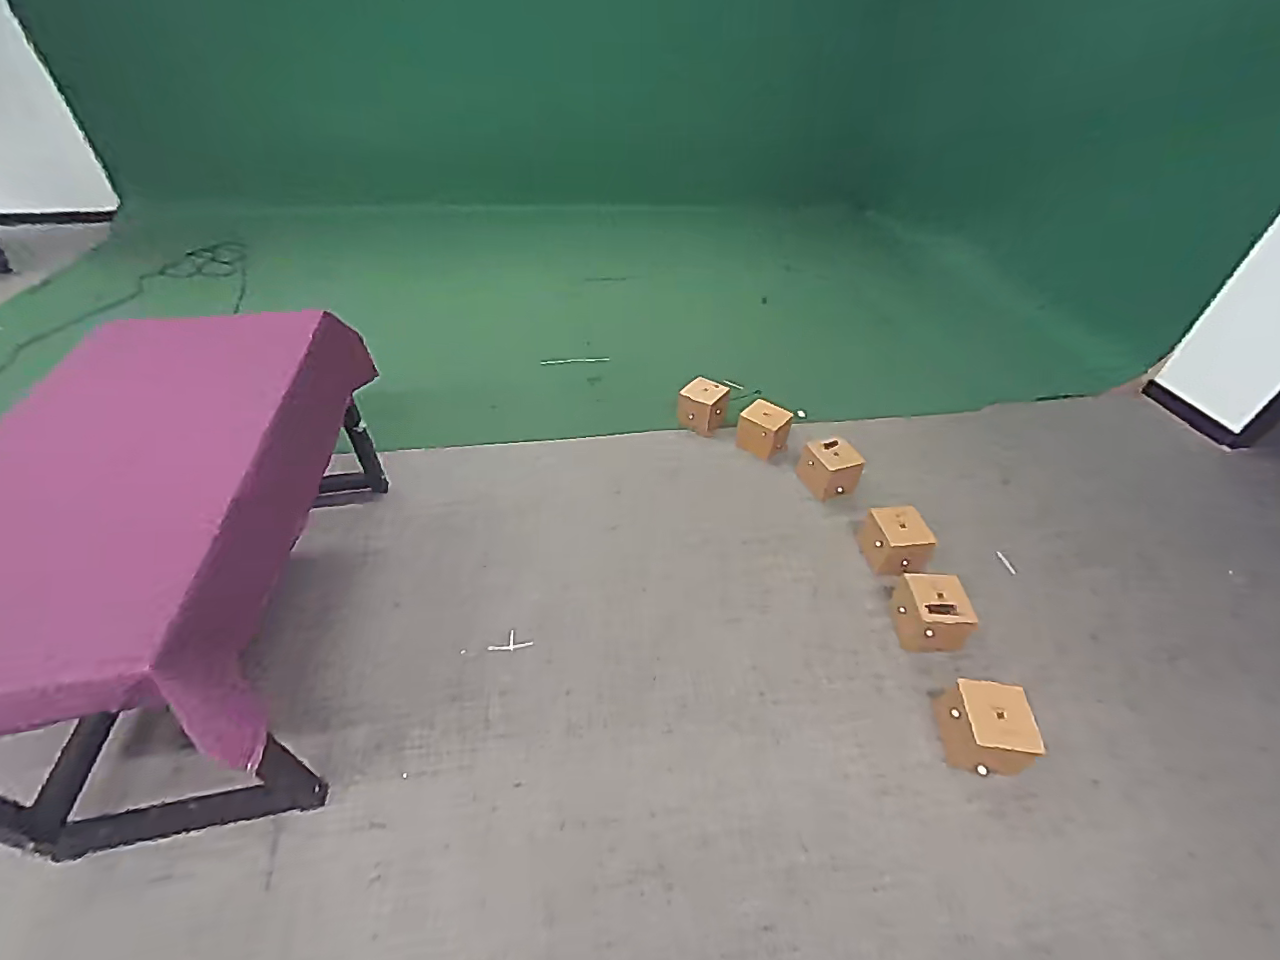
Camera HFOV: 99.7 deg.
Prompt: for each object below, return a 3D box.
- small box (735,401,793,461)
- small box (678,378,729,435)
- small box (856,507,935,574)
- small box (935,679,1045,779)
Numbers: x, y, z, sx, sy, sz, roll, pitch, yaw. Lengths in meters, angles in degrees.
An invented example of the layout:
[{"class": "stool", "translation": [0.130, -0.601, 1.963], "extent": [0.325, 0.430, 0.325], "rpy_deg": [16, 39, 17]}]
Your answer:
[{"class": "small box", "translation": [0.531, -0.210, 2.341], "extent": [0.179, 0.176, 0.168], "rpy_deg": [32, 50, 28]}, {"class": "small box", "translation": [0.284, -0.330, 2.458], "extent": [0.168, 0.176, 0.179], "rpy_deg": [28, 49, 25]}, {"class": "small box", "translation": [0.885, 0.217, 1.889], "extent": [0.168, 0.176, 0.179], "rpy_deg": [-4, 43, -7]}, {"class": "small box", "translation": [0.906, 0.655, 1.423], "extent": [0.168, 0.176, 0.179], "rpy_deg": [6, 44, 6]}]
